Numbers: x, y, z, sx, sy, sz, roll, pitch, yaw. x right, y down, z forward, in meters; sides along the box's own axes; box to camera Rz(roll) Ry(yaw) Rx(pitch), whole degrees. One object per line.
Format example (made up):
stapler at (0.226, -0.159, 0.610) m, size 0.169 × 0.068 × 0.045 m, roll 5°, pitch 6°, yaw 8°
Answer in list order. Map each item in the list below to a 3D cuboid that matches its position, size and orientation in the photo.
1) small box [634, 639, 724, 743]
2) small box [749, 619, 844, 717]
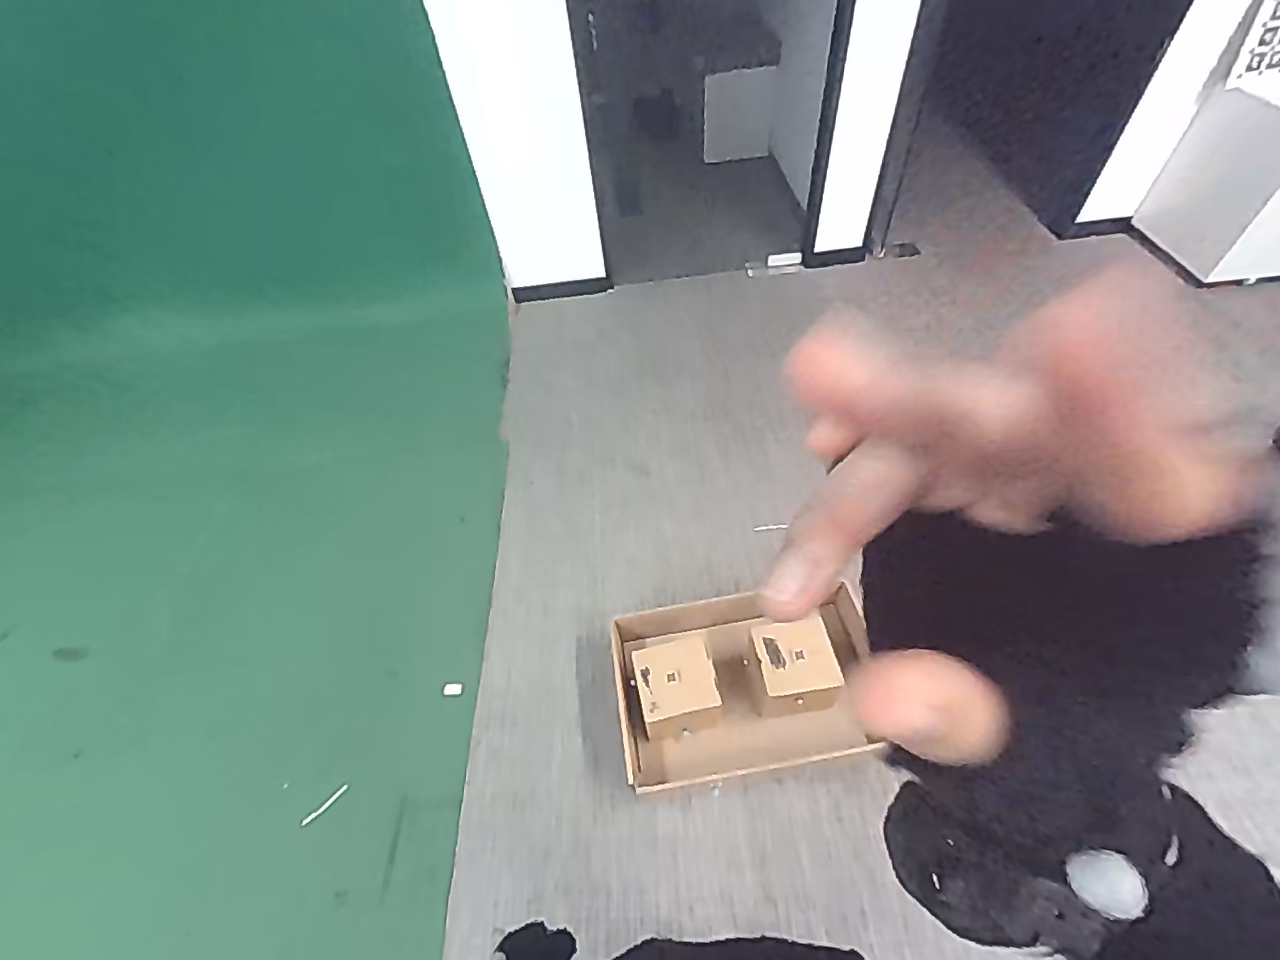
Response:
small box at (0.089, 0.505, 1.290) m, size 0.179 × 0.176 × 0.168 m, roll -11°, pitch 50°, yaw -5°
small box at (0.365, 0.456, 1.299) m, size 0.179 × 0.176 × 0.168 m, roll -9°, pitch 51°, yaw 0°
